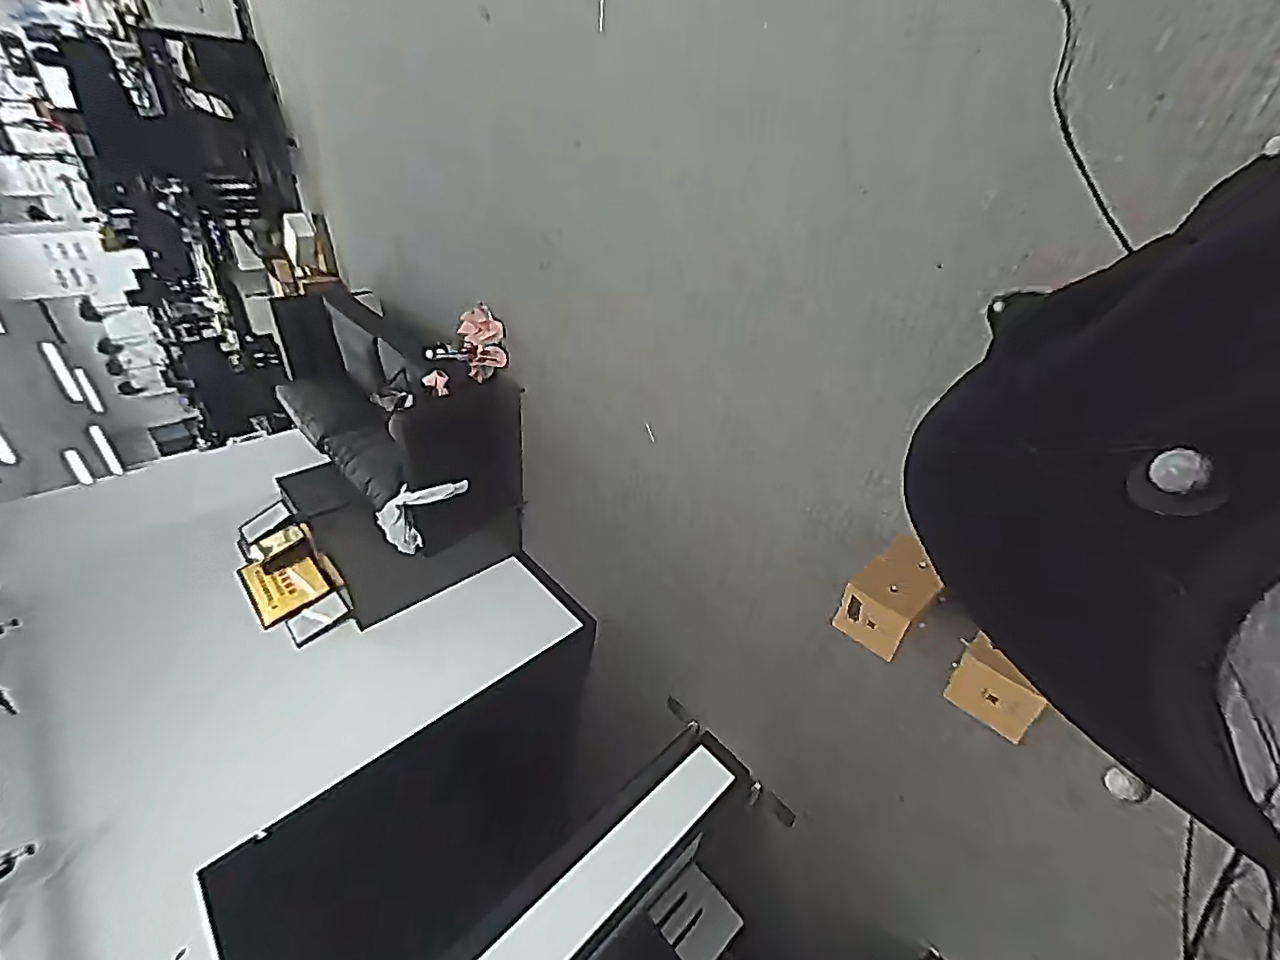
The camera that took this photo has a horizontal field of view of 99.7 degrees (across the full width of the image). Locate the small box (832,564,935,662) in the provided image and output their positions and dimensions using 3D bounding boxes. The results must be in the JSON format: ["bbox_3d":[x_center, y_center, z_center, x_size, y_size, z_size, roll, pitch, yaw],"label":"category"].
[{"bbox_3d":[0.668,0.353,1.485,0.179,0.176,0.168,33,132,34],"label":"small box"}]

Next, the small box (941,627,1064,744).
[{"bbox_3d":[0.876,0.483,1.308,0.179,0.176,0.168,31,131,36],"label":"small box"}]
